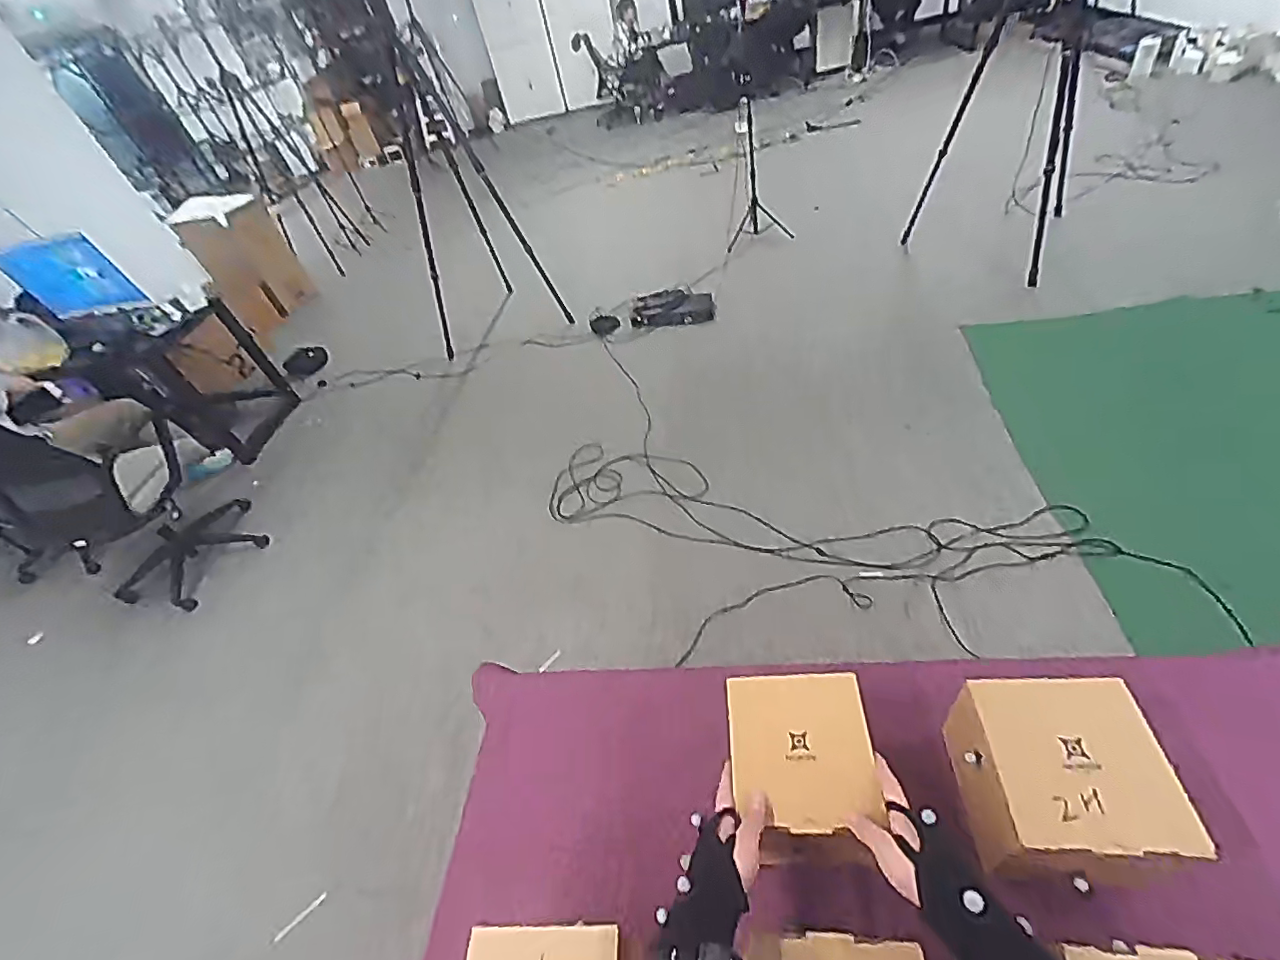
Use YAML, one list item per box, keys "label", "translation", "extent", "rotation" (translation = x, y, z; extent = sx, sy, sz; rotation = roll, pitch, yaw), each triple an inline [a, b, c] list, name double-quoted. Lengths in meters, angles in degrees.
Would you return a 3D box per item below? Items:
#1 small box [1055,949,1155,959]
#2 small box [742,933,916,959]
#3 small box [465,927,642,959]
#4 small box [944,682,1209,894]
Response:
- label: "small box"
  translation: [0.458, 0.535, 0.462]
  extent: [0.168, 0.176, 0.179]
  rotation: [-5, 44, 14]
- label: "small box"
  translation: [0.190, 0.566, 0.521]
  extent: [0.168, 0.176, 0.179]
  rotation: [-6, 45, 13]
- label: "small box"
  translation: [-0.091, 0.599, 0.572]
  extent: [0.168, 0.176, 0.179]
  rotation: [-8, 42, 10]
- label: "small box"
  translation: [0.478, 0.357, 0.634]
  extent: [0.168, 0.176, 0.179]
  rotation: [-5, 45, 13]
